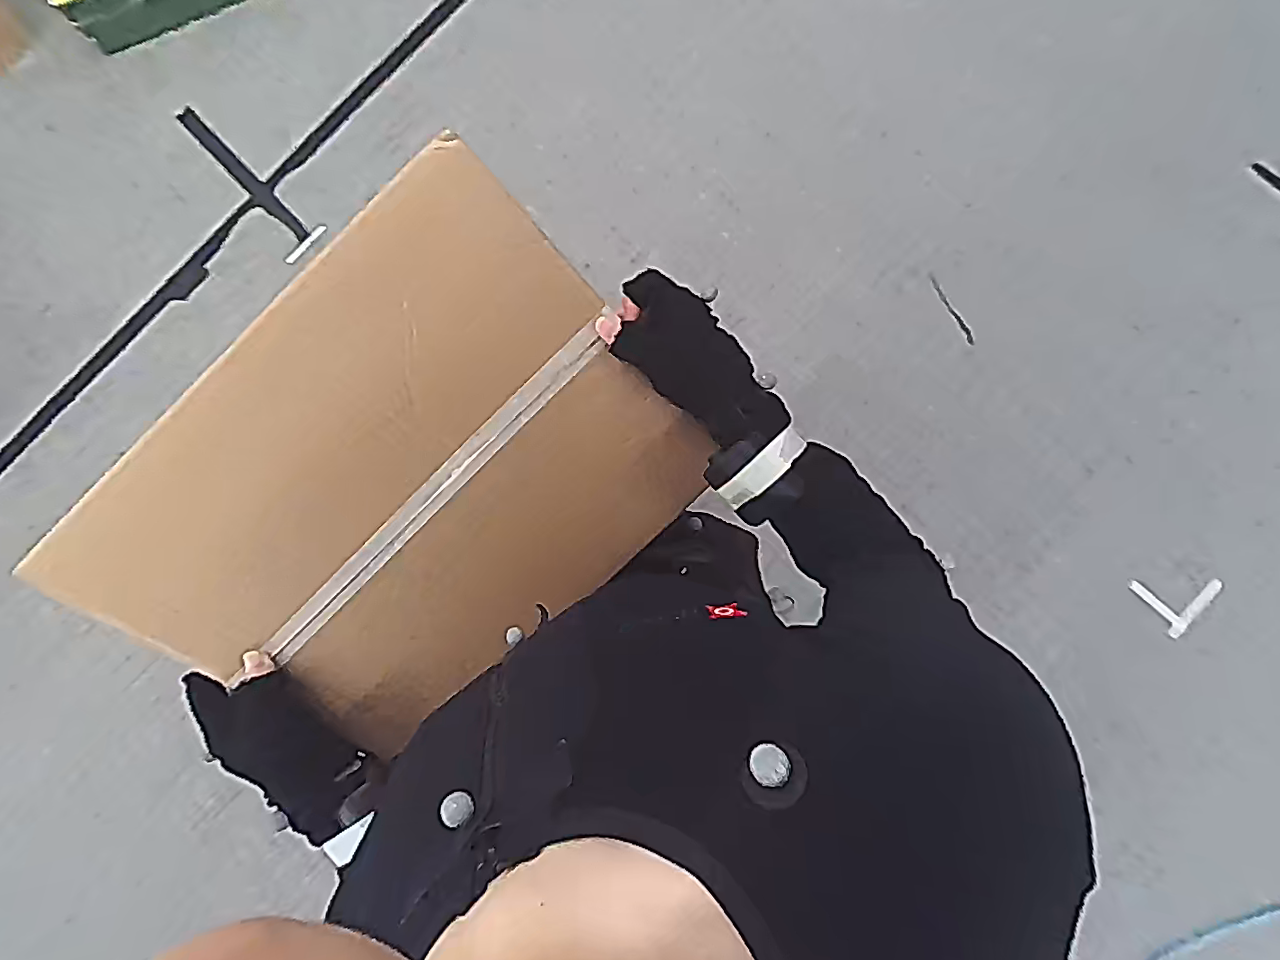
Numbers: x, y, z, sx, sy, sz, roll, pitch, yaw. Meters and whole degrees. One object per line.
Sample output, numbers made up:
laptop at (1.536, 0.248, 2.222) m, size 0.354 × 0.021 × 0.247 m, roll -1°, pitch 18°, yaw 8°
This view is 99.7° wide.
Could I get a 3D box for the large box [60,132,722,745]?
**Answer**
large box at (-0.201, -0.038, 0.556) m, size 0.408 × 0.320 × 0.320 m, roll -44°, pitch 115°, yaw 3°
